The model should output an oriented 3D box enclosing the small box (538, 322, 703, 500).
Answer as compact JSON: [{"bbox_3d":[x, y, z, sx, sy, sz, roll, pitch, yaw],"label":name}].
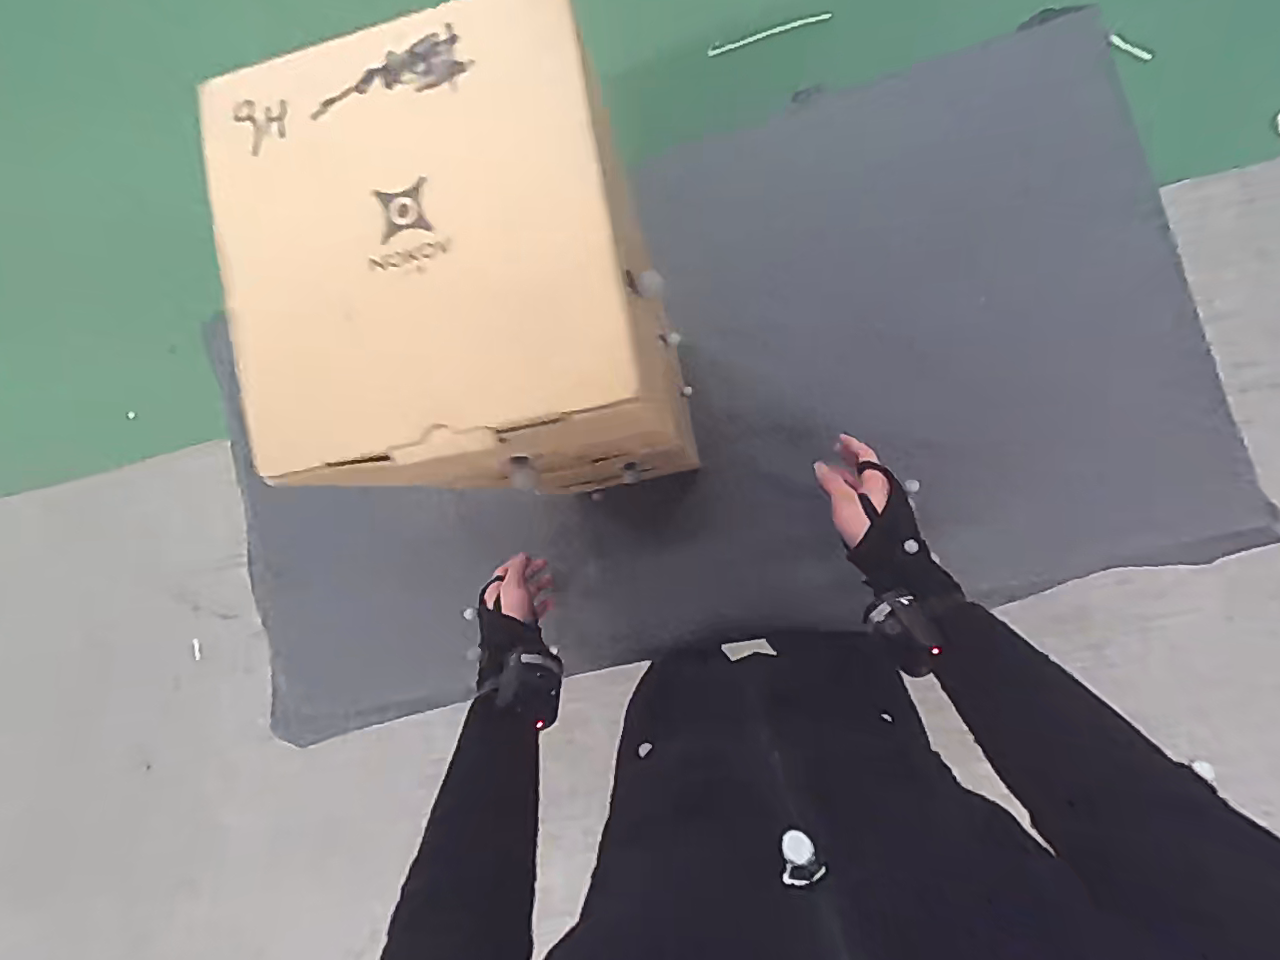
[{"bbox_3d":[-0.027,-0.079,0.614,0.168,0.176,0.179,-12,86,9],"label":"small box"}]

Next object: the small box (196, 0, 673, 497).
[{"bbox_3d":[-0.080,-0.092,0.293,0.168,0.176,0.179,-11,88,7],"label":"small box"}]

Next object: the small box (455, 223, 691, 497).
[{"bbox_3d":[-0.055,-0.085,0.455,0.168,0.176,0.179,-12,85,8],"label":"small box"}]
